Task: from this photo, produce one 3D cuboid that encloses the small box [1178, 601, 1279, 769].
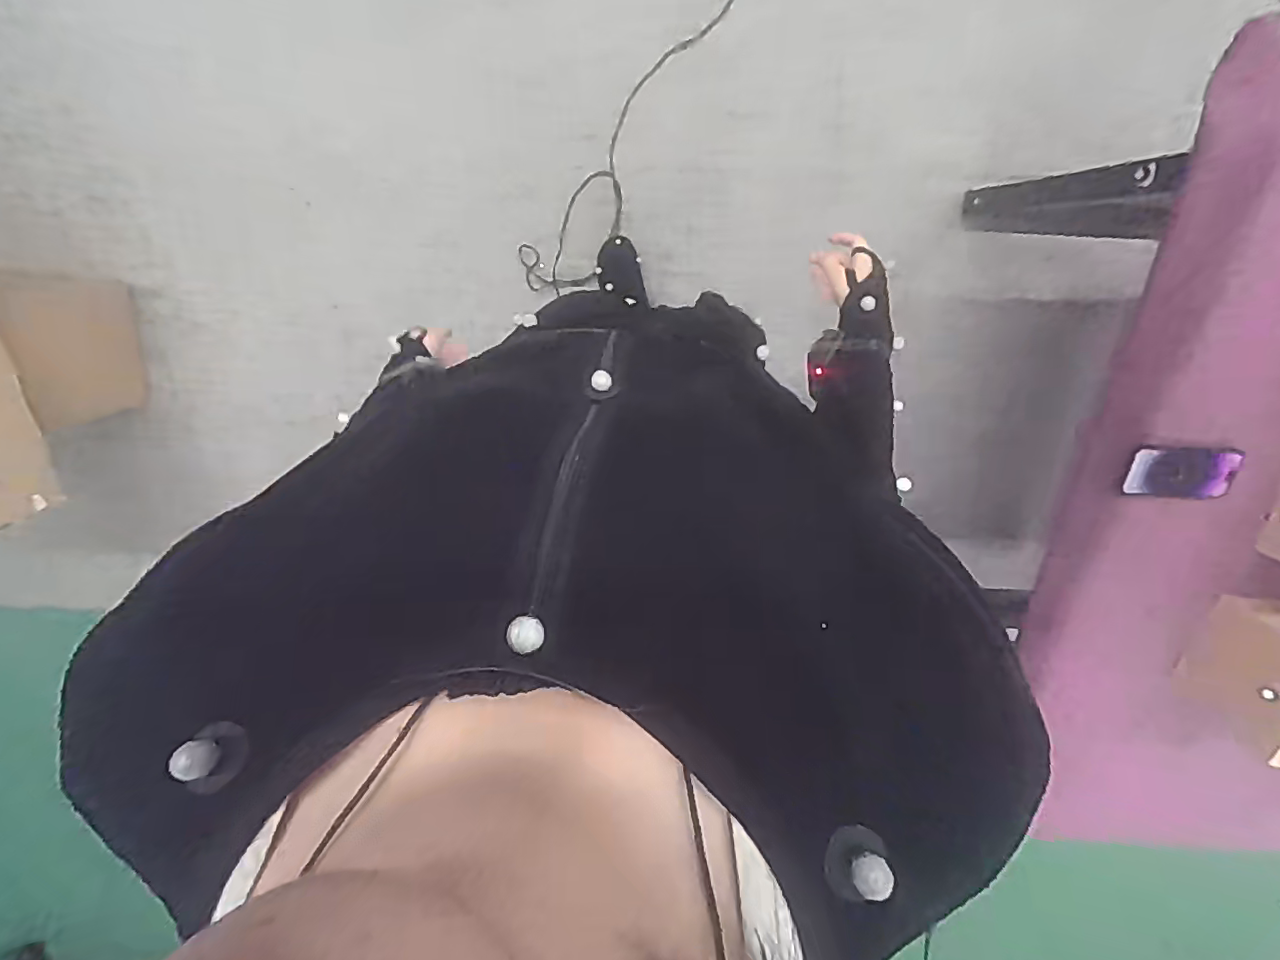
[{"bbox_3d":[0.965,0.299,0.789,0.168,0.176,0.179,7,113,-1],"label":"small box"}]
